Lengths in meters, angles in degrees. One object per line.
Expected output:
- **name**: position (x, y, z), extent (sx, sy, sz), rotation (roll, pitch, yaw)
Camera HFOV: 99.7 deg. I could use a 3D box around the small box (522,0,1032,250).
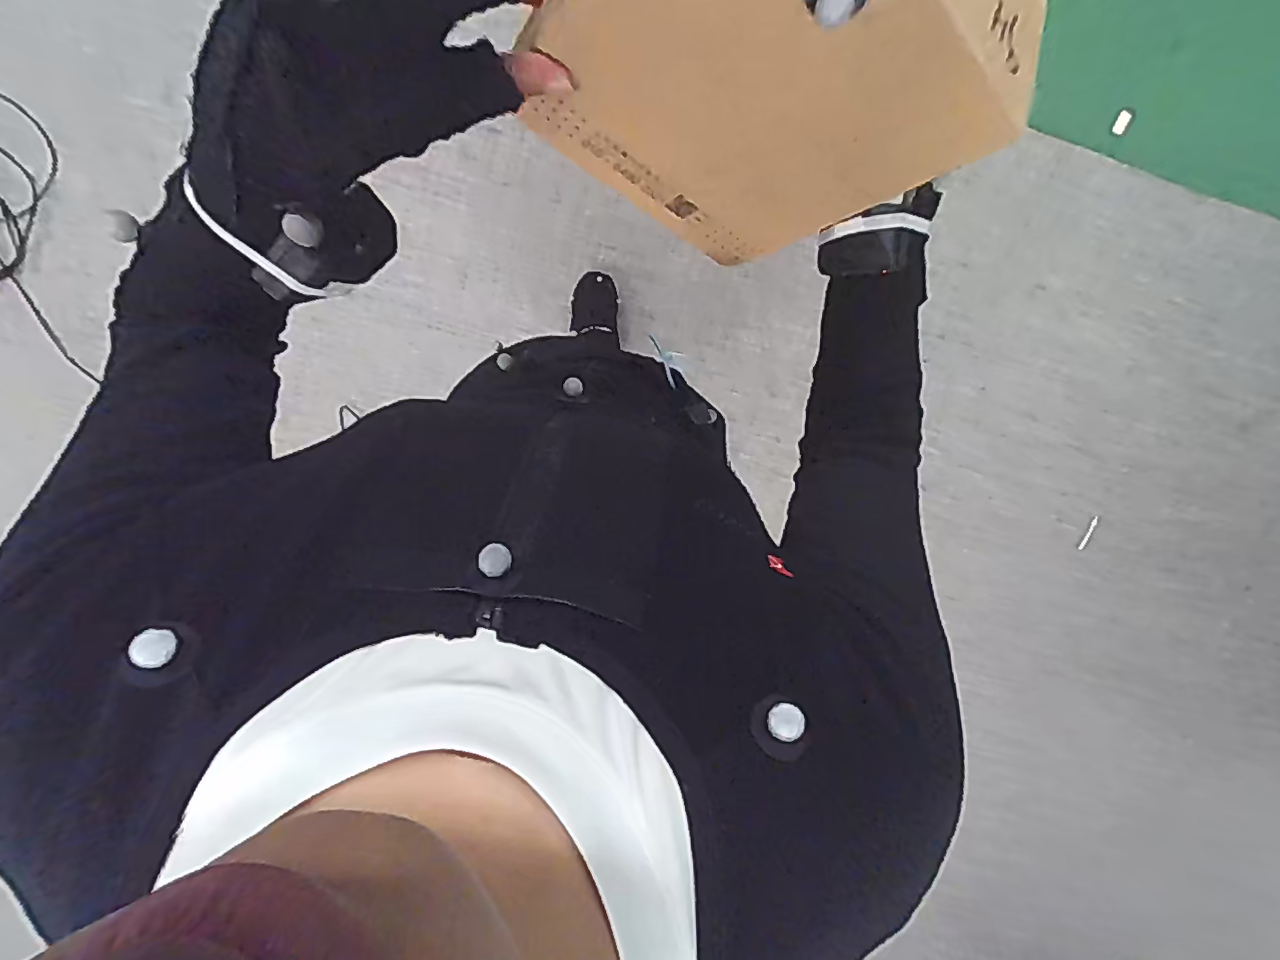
- **small box**: position (0.064, -0.251, 0.260), extent (0.168, 0.176, 0.179), rotation (20, 79, -34)
